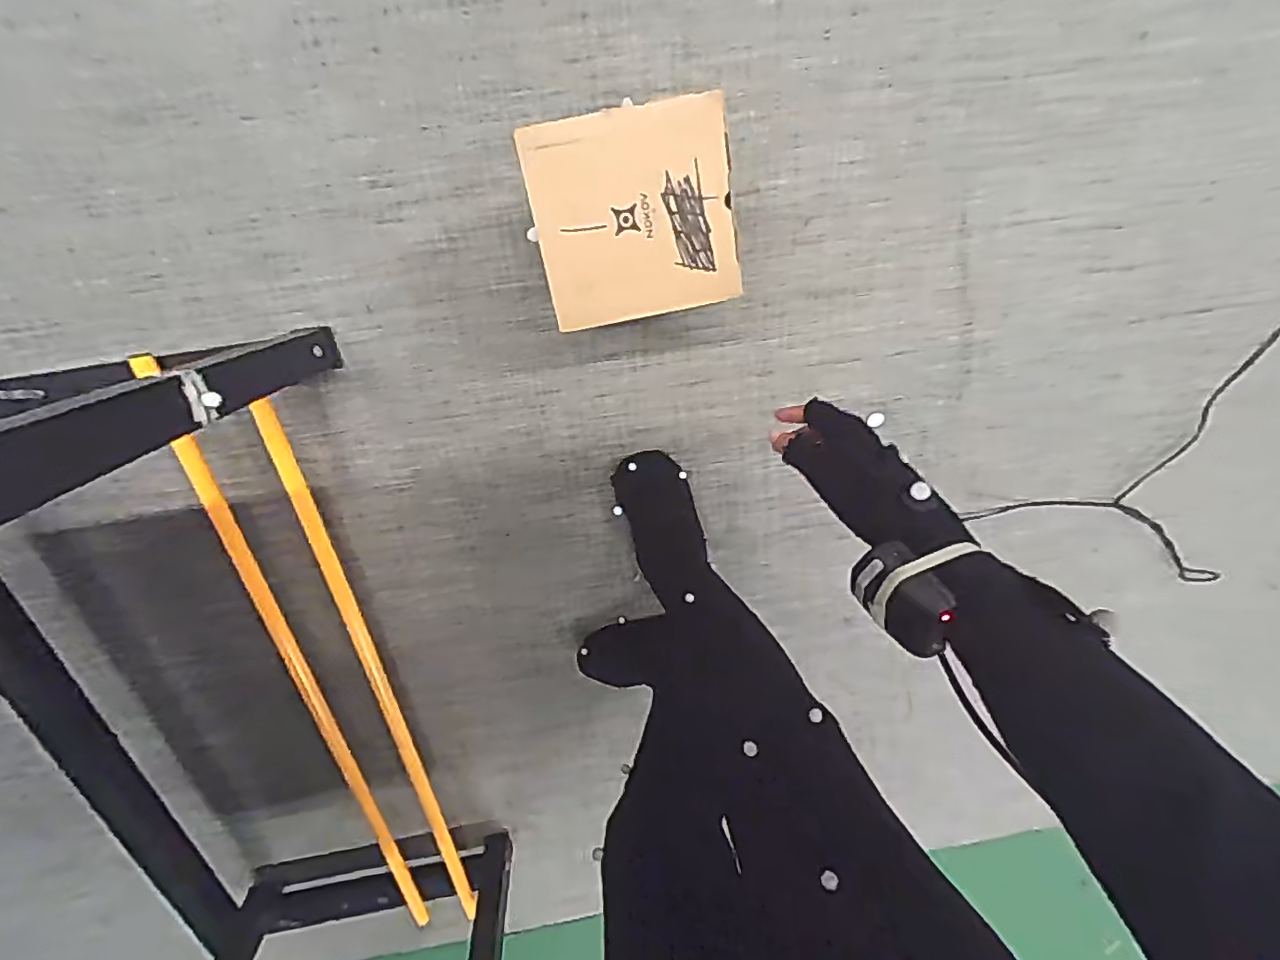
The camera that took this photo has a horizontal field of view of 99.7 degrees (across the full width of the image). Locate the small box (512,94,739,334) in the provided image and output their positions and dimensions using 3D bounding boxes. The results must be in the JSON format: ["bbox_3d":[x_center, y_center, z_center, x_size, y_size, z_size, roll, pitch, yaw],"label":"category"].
[{"bbox_3d":[-0.013,-0.254,0.536,0.179,0.176,0.168,-11,114,0],"label":"small box"}]
